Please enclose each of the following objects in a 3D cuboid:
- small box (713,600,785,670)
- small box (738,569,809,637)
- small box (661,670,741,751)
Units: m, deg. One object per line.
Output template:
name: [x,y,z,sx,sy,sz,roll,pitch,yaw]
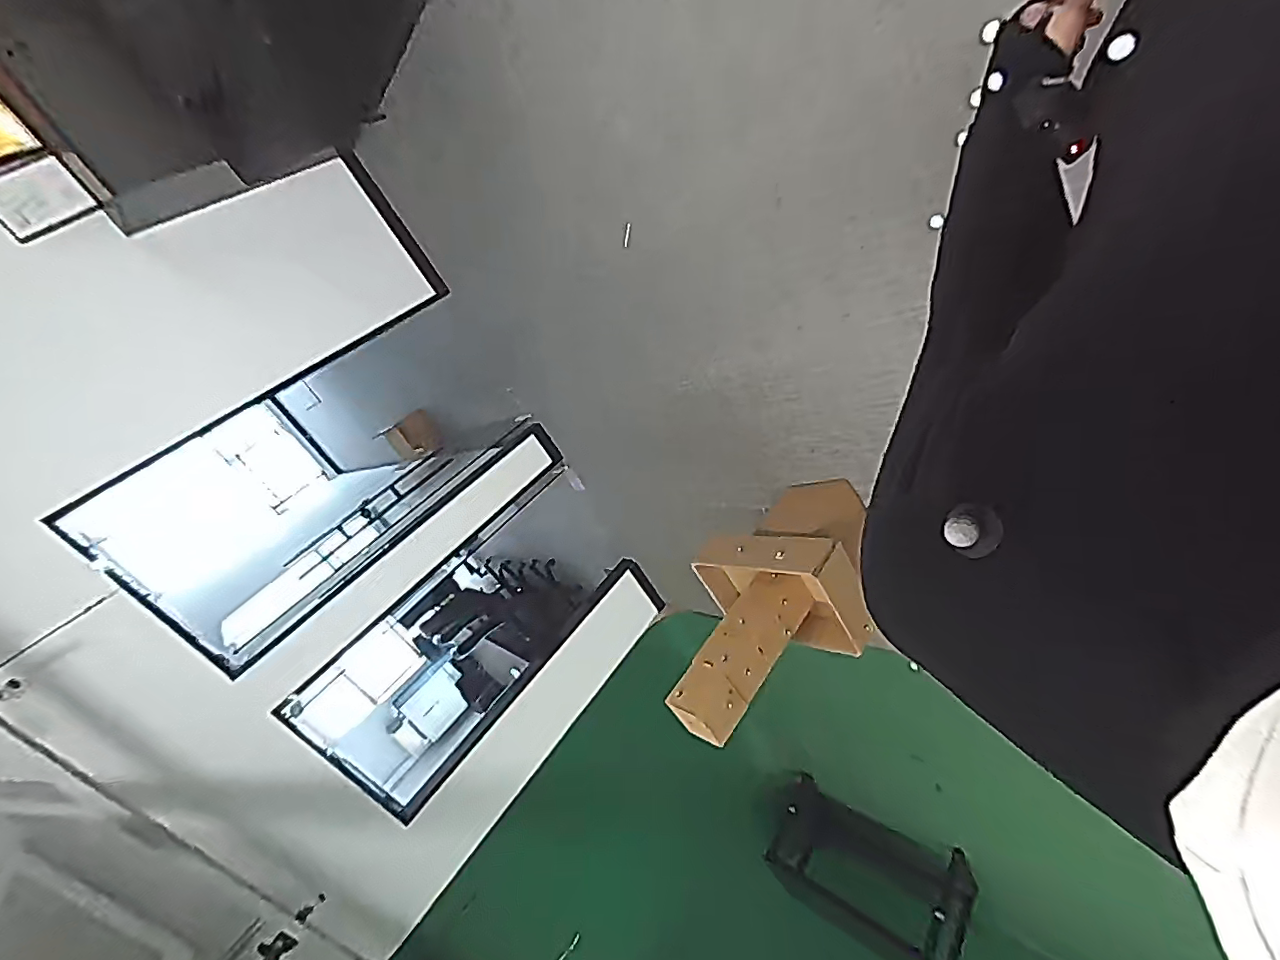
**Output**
small box: [0.412,0.566,1.999,0.179,0.176,0.168,-3,125,55]
small box: [0.518,0.467,2.075,0.168,0.176,0.179,-5,123,55]
small box: [0.211,0.776,1.844,0.179,0.176,0.168,-6,124,55]
